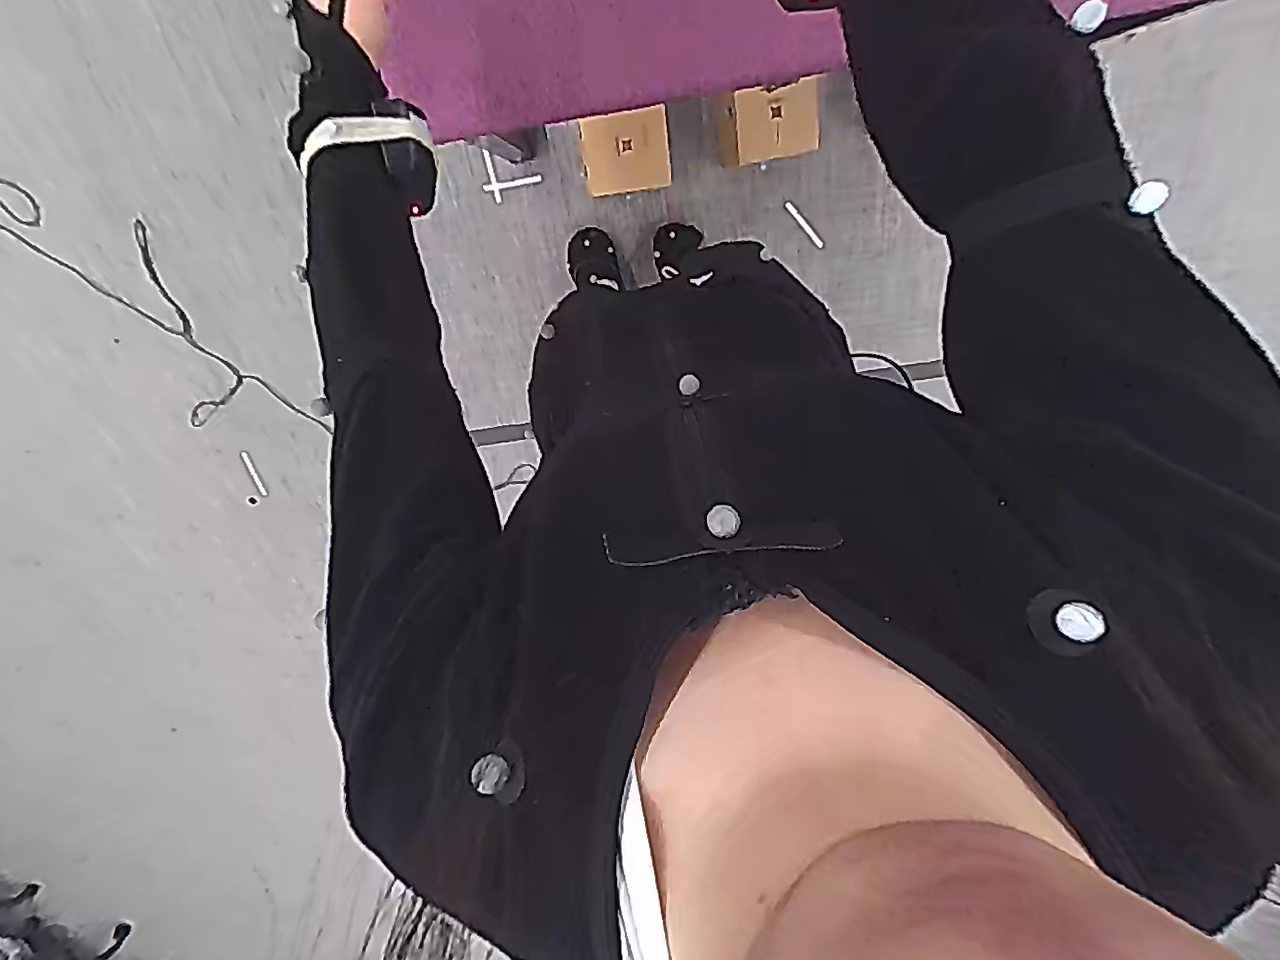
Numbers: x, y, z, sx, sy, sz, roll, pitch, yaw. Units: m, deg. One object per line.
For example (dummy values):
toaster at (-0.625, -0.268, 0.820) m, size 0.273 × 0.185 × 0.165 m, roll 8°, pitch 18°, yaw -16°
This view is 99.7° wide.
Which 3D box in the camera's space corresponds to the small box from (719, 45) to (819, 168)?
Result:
small box at (0.265, -0.771, 1.133) m, size 0.168 × 0.176 × 0.179 m, roll -10°, pitch 117°, yaw 3°
